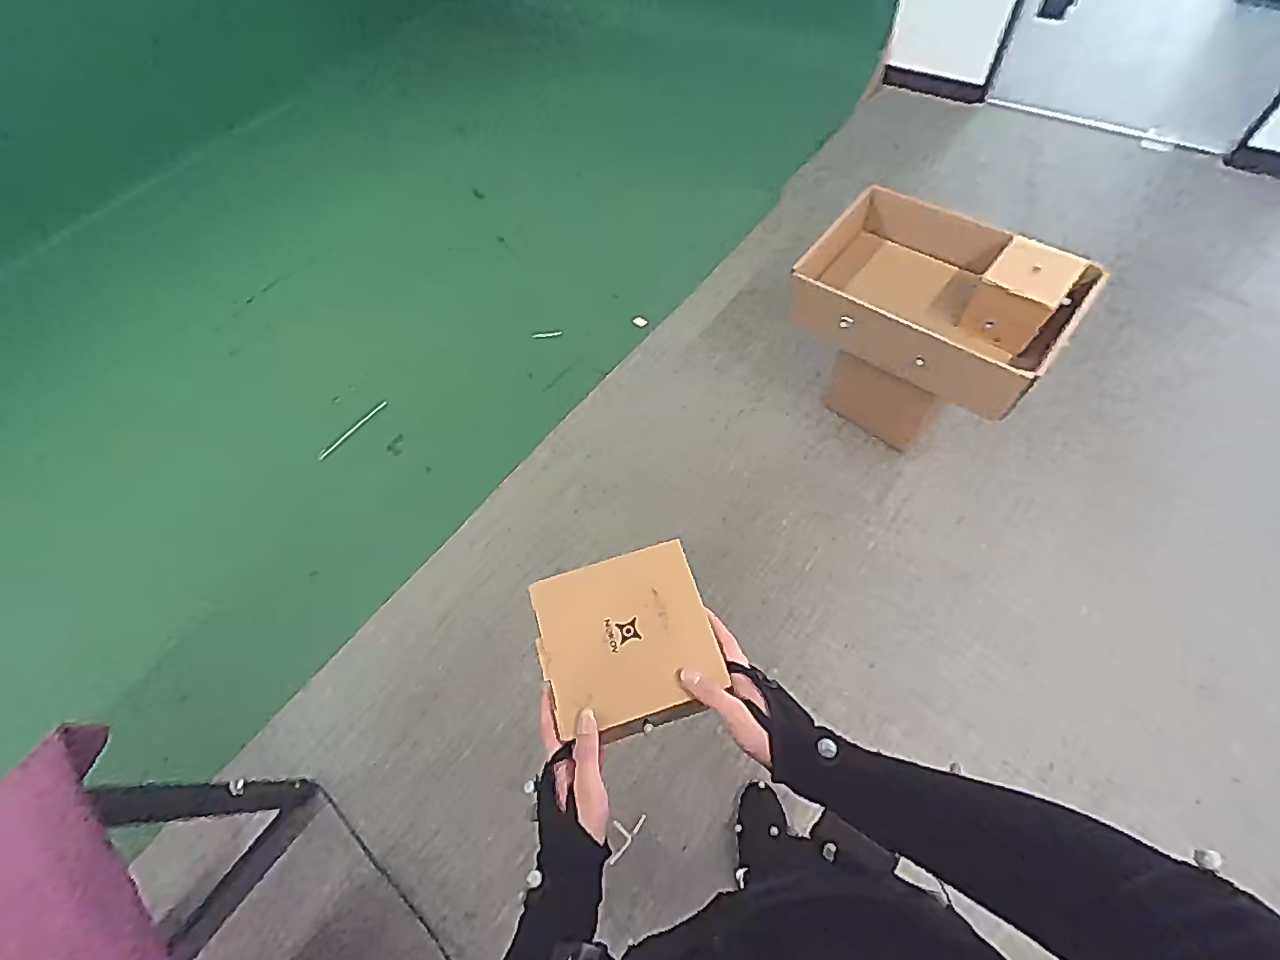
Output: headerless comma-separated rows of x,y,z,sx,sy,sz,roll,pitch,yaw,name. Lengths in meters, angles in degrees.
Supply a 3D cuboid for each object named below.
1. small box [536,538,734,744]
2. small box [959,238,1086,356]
-0.006,0.193,0.626,0.179,0.176,0.168,-15,61,-6,small box
0.919,-0.442,1.319,0.168,0.176,0.179,37,74,23,small box
